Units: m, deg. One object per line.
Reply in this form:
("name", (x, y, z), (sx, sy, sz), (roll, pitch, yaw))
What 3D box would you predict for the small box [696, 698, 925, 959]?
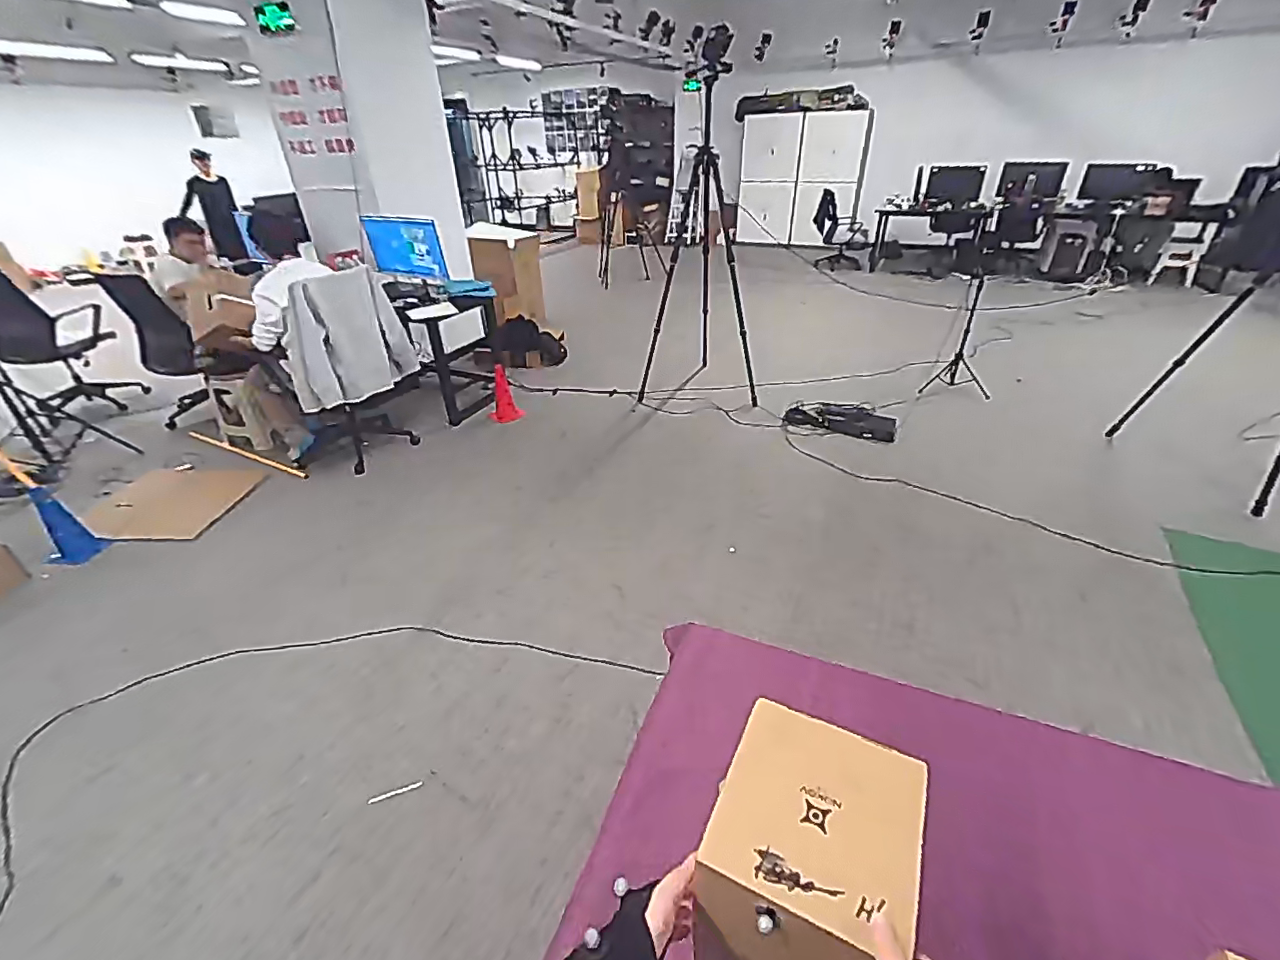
("small box", (0.158, 0.356, 0.516), (0.168, 0.176, 0.179), (12, 33, 26))
